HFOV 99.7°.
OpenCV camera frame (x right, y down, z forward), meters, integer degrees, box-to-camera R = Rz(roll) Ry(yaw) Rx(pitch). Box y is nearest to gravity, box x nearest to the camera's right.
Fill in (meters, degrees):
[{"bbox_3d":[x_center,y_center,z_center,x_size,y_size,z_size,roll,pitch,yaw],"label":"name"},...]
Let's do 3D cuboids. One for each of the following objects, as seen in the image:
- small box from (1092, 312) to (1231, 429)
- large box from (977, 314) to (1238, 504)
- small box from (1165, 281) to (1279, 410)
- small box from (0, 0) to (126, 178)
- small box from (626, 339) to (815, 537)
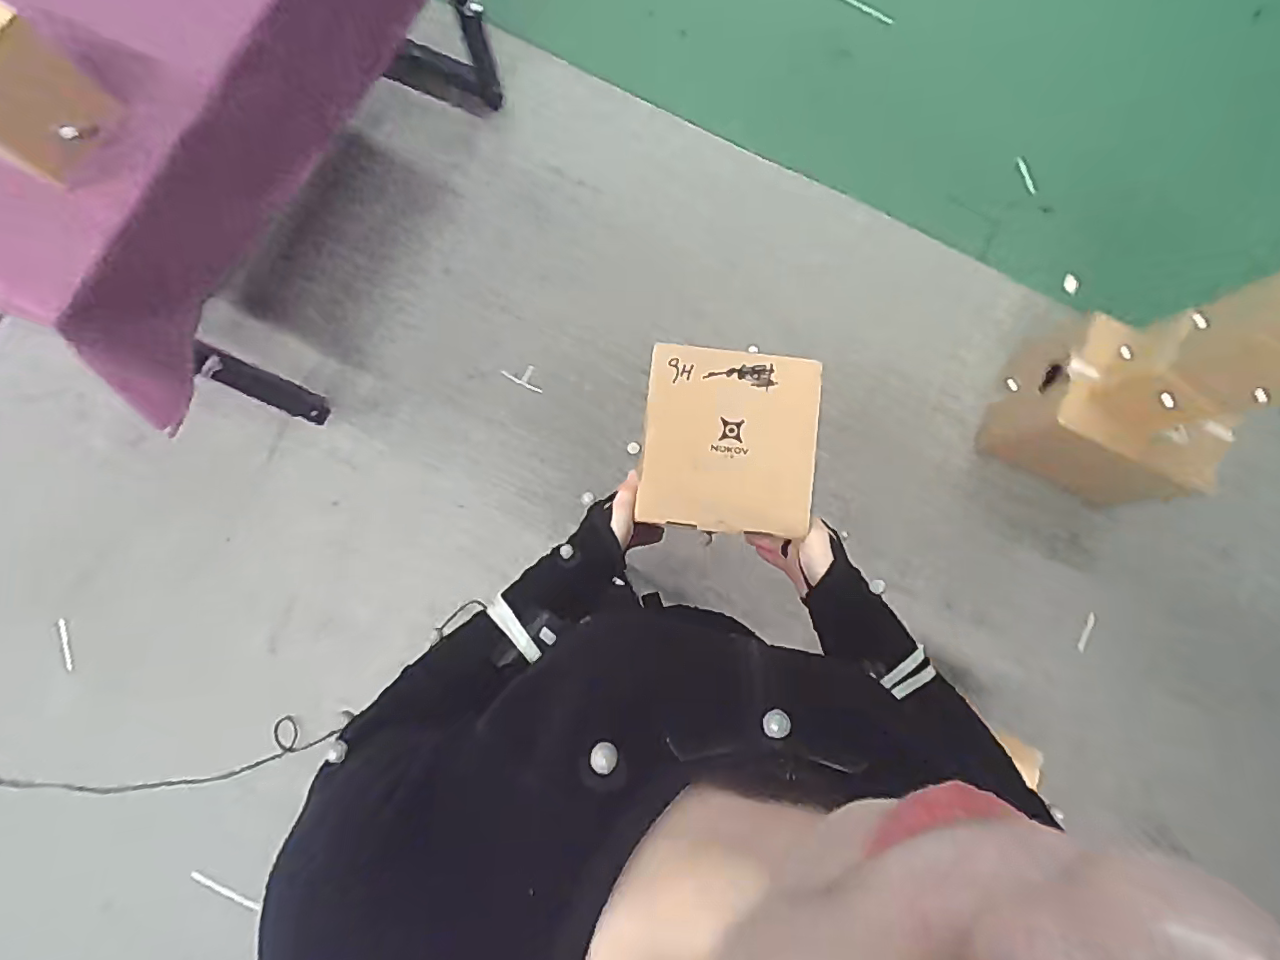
[{"bbox_3d":[1.183,-0.231,1.204,0.179,0.176,0.168,37,82,4],"label":"small box"},{"bbox_3d":[1.219,-0.168,1.442,0.408,0.320,0.320,27,82,1],"label":"large box"},{"bbox_3d":[1.199,-0.254,1.044,0.179,0.176,0.168,41,82,5],"label":"small box"},{"bbox_3d":[-0.933,-0.585,0.785,0.179,0.176,0.168,28,82,2],"label":"small box"},{"bbox_3d":[0.077,-0.037,0.595,0.168,0.176,0.179,6,87,0],"label":"small box"}]
